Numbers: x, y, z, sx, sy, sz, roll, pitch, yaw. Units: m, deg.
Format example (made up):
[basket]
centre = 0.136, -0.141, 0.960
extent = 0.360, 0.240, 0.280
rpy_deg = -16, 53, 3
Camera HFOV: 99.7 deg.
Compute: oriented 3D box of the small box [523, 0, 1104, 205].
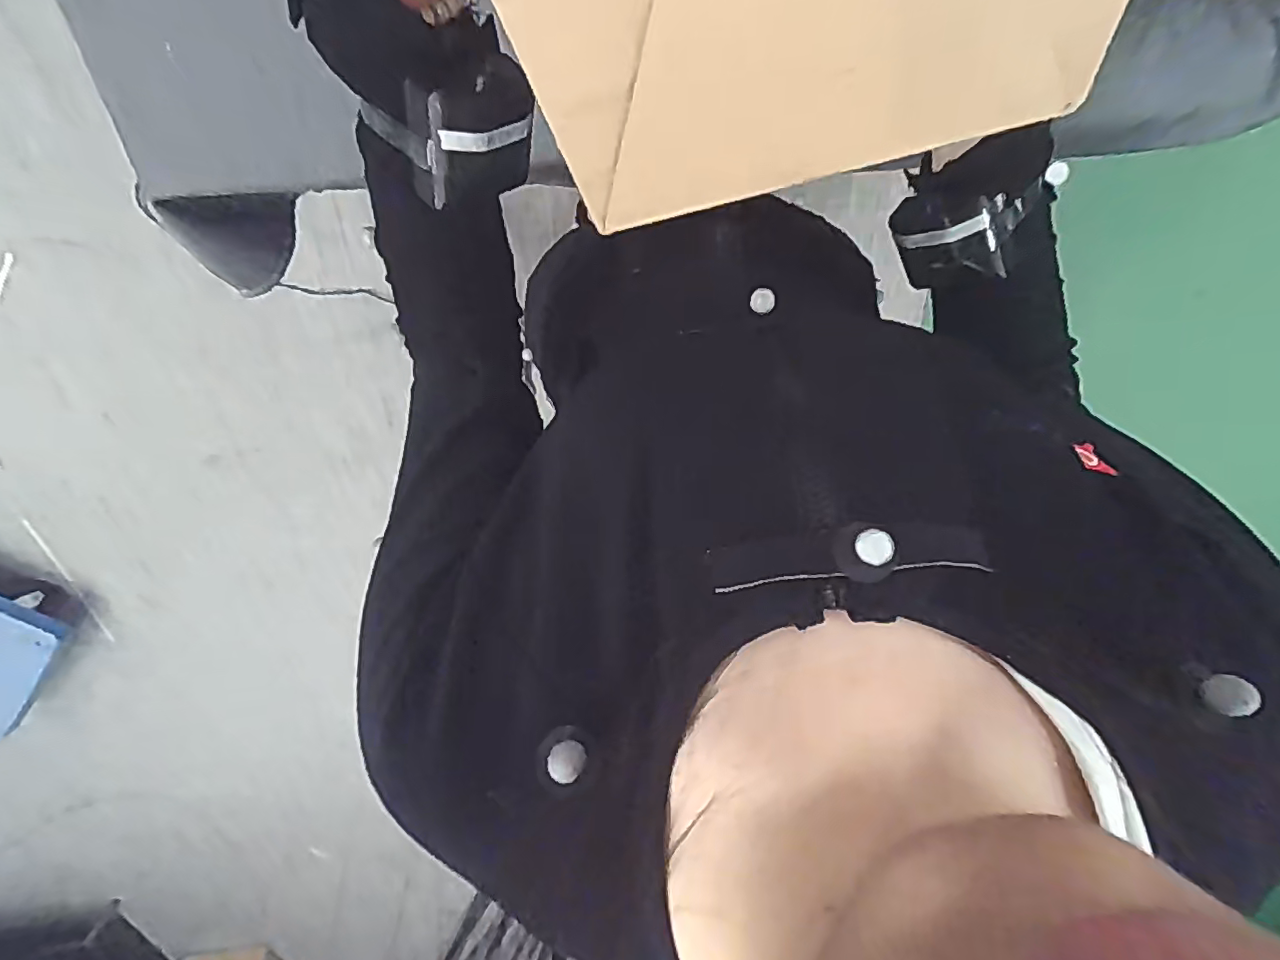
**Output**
[small box]
centre = 0.037, -0.217, 0.149
extent = 0.168, 0.176, 0.179
rpy_deg = -9, 156, 16
